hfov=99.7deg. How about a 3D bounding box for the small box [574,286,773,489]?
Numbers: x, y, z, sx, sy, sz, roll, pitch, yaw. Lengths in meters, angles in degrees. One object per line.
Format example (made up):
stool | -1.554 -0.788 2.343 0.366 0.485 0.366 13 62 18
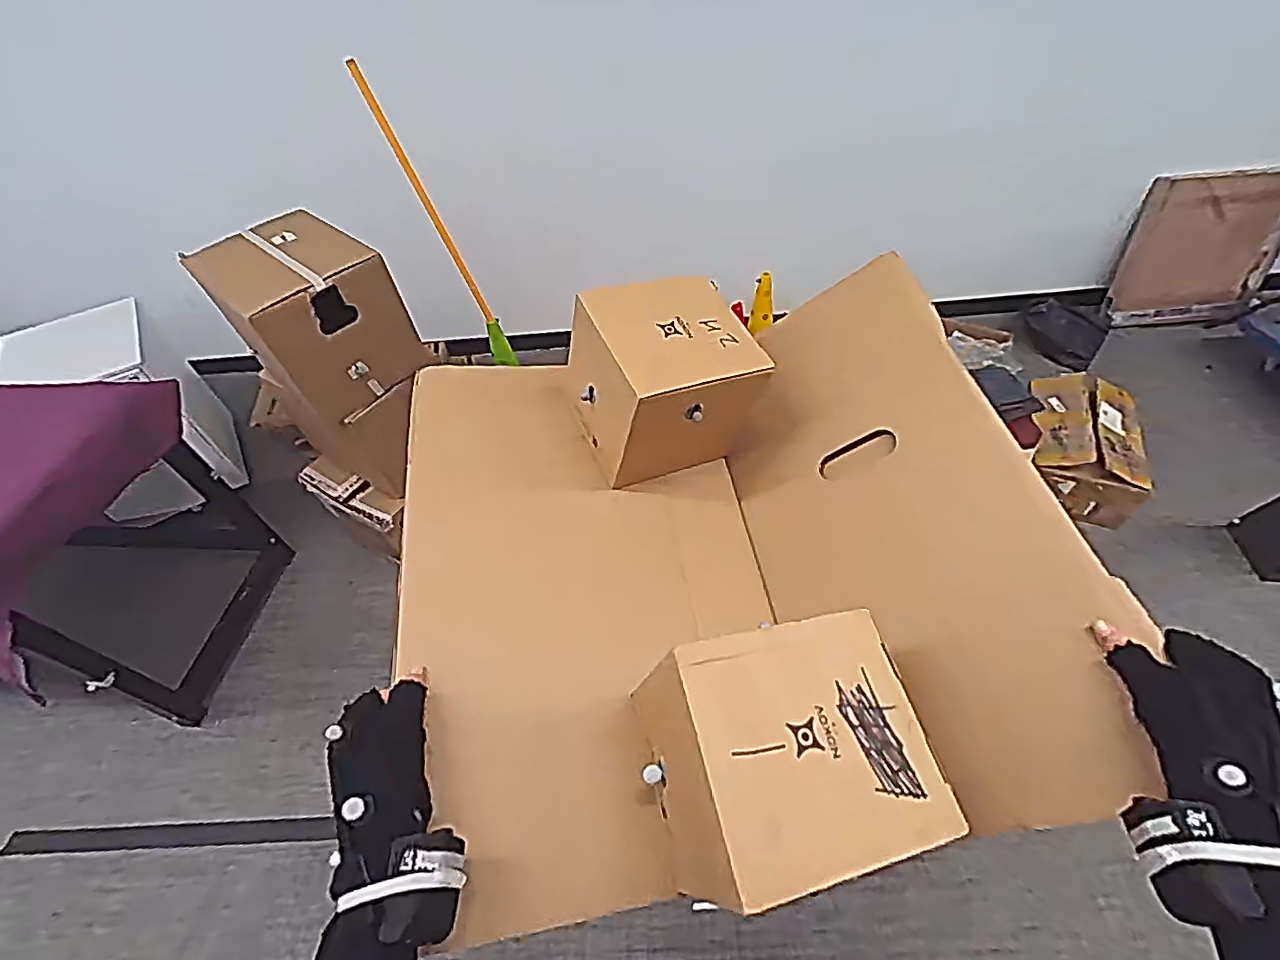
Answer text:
small box | 0.025 -0.110 0.665 0.179 0.176 0.168 -16 62 -23
